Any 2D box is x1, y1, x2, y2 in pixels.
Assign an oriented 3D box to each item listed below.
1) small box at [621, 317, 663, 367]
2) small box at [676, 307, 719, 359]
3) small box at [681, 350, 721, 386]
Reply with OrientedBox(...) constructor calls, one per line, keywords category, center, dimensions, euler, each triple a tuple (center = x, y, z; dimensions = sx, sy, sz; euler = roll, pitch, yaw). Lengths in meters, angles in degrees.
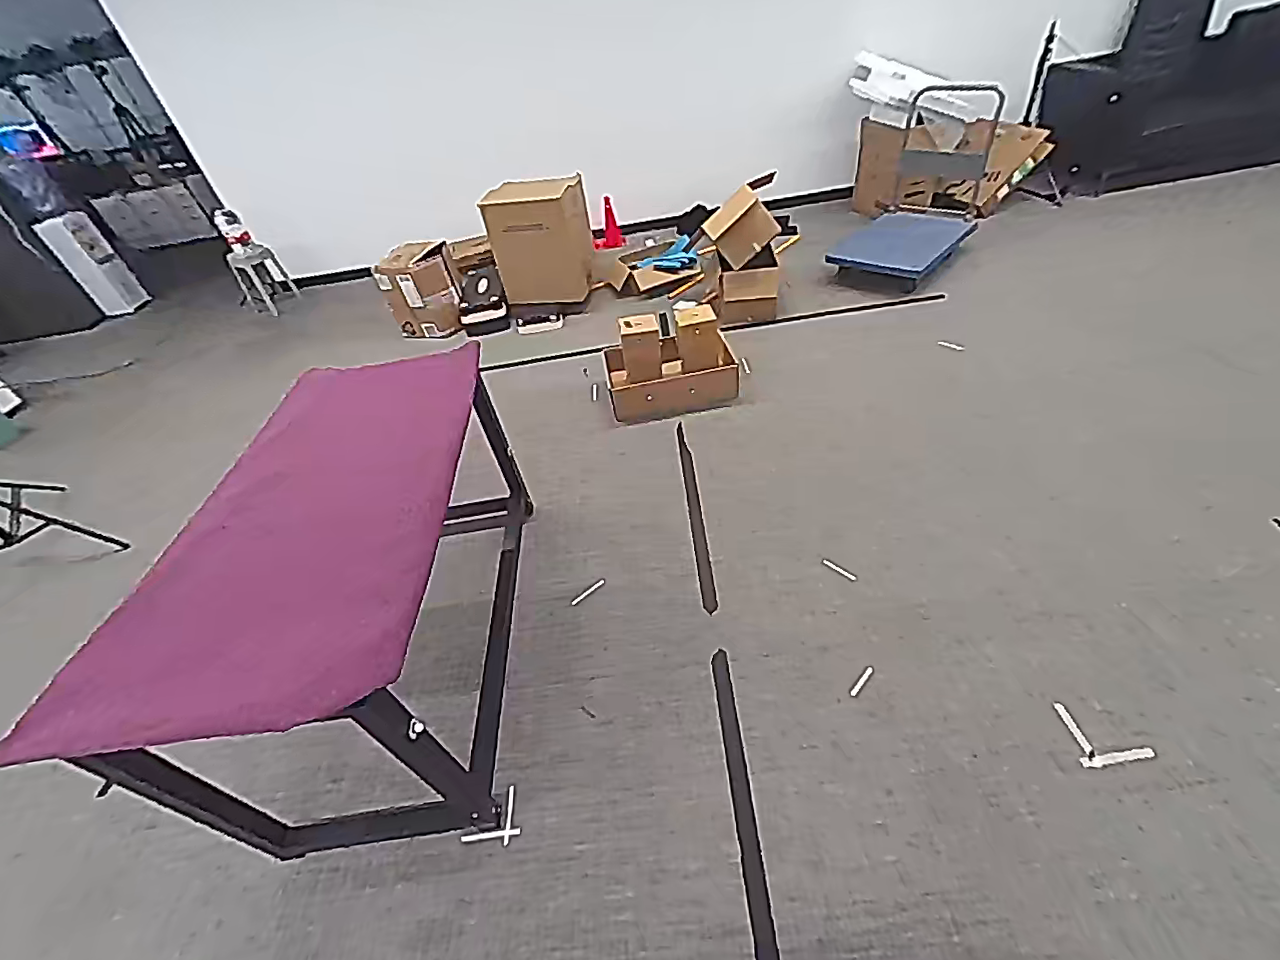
OrientedBox(category="small box", center=(0.010, -0.653, 2.564), dimensions=(0.179, 0.176, 0.168), euler=(-8, 42, -1))
OrientedBox(category="small box", center=(0.274, -0.694, 2.558), dimensions=(0.179, 0.176, 0.168), euler=(-12, 42, 1))
OrientedBox(category="small box", center=(0.301, -0.577, 2.667), dimensions=(0.168, 0.176, 0.179), euler=(-10, 41, 0))
